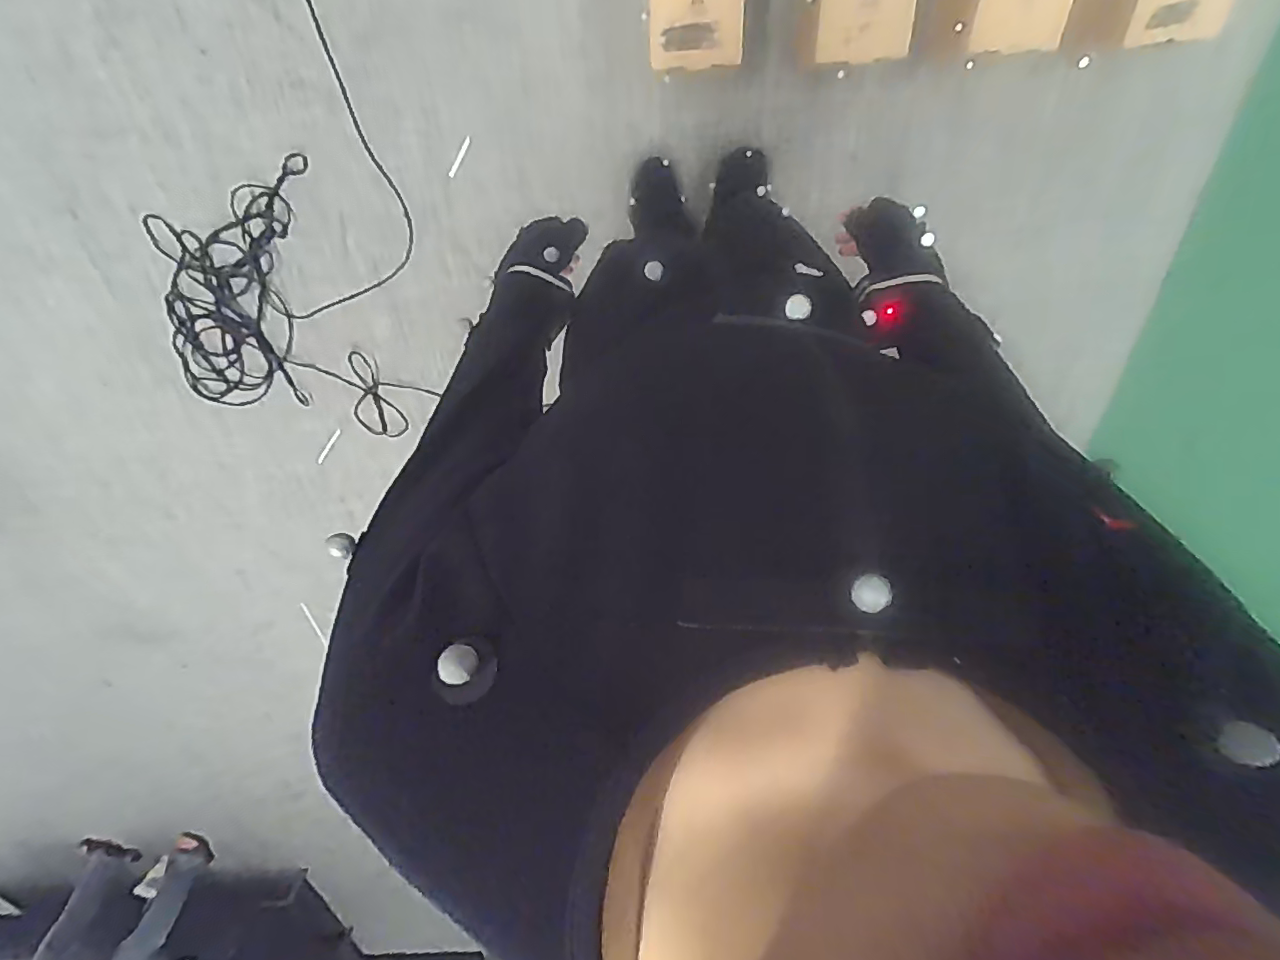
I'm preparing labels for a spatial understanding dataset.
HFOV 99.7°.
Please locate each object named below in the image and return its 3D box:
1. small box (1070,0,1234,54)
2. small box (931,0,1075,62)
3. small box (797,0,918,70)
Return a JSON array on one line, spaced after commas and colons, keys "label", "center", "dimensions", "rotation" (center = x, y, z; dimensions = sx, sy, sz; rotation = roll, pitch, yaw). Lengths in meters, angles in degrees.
[{"label": "small box", "center": [0.928, -0.887, 0.972], "dimensions": [0.168, 0.176, 0.179], "rotation": [-4, 122, 2]}, {"label": "small box", "center": [0.659, -0.878, 0.978], "dimensions": [0.168, 0.176, 0.179], "rotation": [-1, 123, 0]}, {"label": "small box", "center": [0.391, -0.866, 0.981], "dimensions": [0.168, 0.176, 0.179], "rotation": [-2, 123, 2]}]
